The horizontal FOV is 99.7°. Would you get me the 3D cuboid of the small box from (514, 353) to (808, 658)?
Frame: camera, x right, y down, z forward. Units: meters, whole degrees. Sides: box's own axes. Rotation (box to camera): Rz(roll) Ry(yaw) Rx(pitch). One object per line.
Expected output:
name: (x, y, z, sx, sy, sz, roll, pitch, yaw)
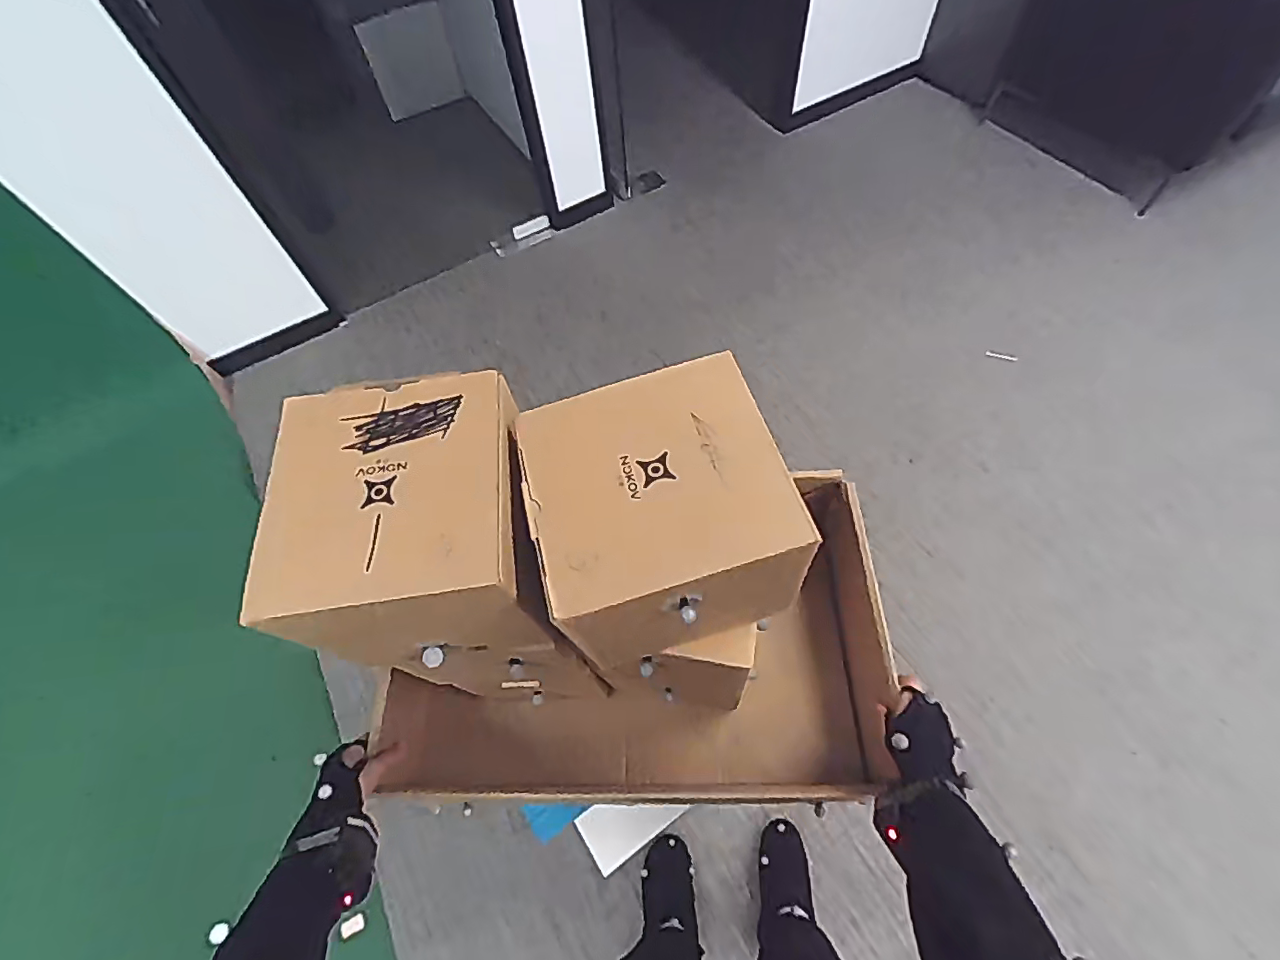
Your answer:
small box: (0.016, 0.032, 0.443, 0.179, 0.176, 0.168, -16, 60, -1)
